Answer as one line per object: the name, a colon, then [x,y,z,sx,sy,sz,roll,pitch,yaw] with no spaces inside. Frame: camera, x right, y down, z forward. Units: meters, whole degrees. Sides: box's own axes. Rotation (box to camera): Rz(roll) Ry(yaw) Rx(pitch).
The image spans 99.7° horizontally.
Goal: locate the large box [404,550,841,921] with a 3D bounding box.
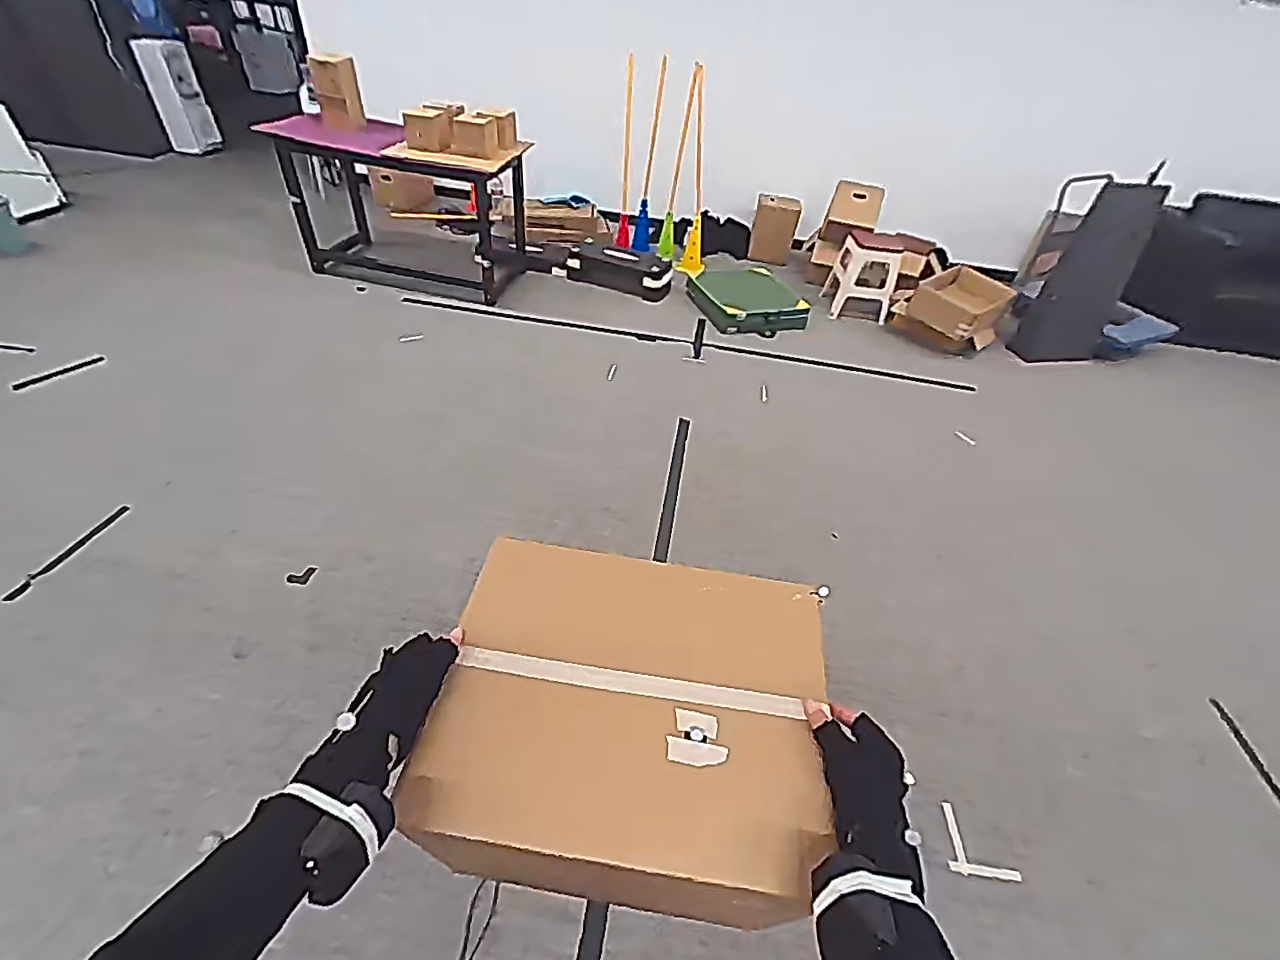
large box: [-0.013,0.324,0.687,0.408,0.320,0.320,8,48,2]
